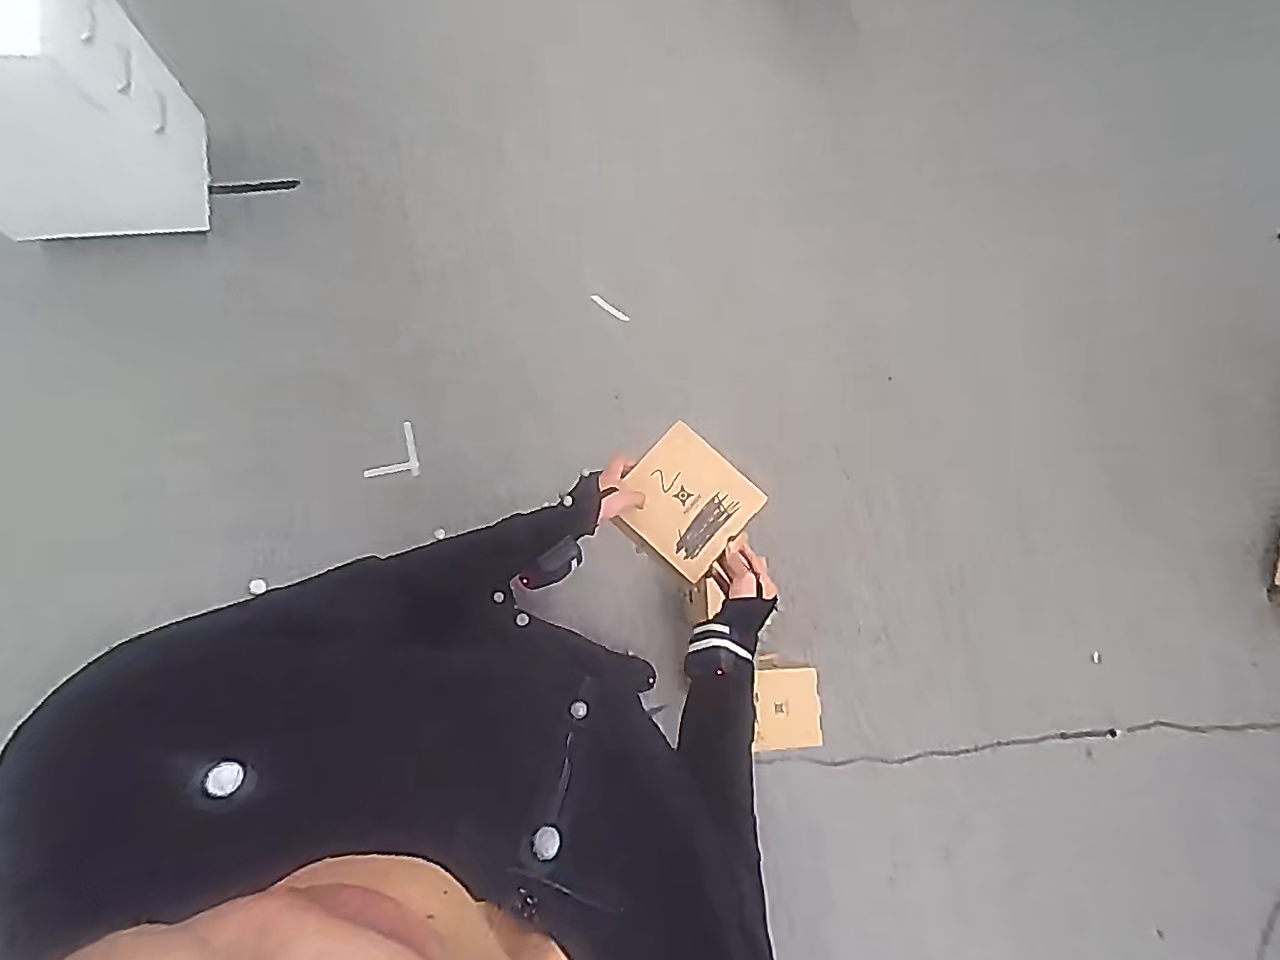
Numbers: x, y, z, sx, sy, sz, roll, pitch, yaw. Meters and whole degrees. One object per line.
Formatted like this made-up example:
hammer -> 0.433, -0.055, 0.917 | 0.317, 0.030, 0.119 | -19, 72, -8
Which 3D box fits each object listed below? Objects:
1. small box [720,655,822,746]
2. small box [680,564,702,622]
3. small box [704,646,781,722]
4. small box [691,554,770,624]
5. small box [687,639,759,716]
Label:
small box -> 0.299, 0.505, 1.261 | 0.179, 0.176, 0.168 | 0, 79, -10
small box -> 0.230, 0.327, 1.618 | 0.179, 0.176, 0.168 | -4, 79, -9
small box -> 0.276, 0.539, 1.420 | 0.168, 0.176, 0.179 | -7, 80, -10
small box -> 0.239, 0.292, 1.457 | 0.168, 0.176, 0.179 | 0, 78, -9
small box -> 0.252, 0.569, 1.578 | 0.179, 0.176, 0.168 | -9, 80, -10
